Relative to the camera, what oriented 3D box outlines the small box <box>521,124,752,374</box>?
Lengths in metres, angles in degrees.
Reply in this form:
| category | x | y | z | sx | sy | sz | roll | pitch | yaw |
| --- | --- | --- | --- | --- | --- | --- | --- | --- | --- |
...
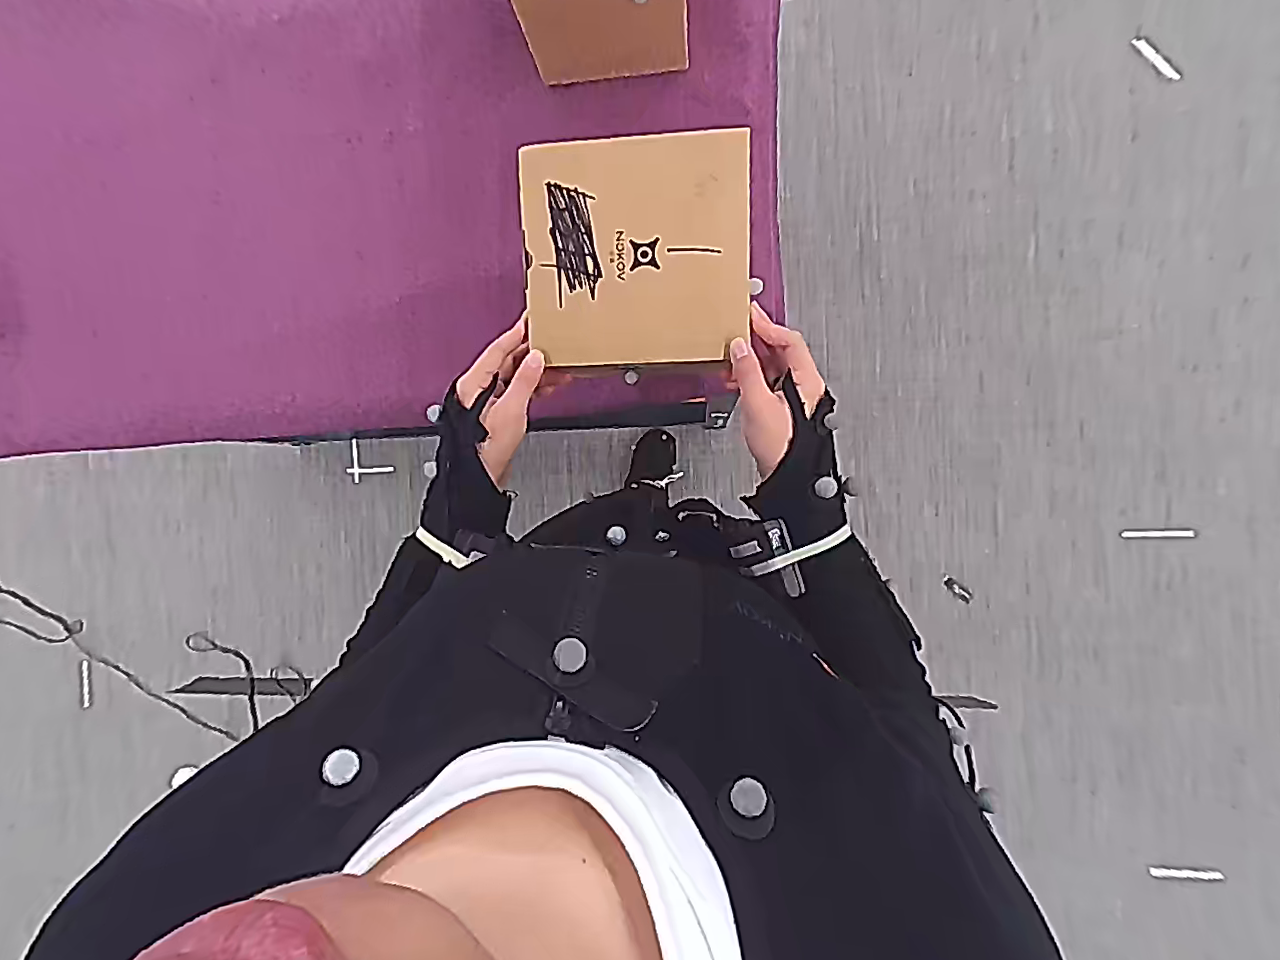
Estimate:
| category | x | y | z | sx | sy | sz | roll | pitch | yaw |
| --- | --- | --- | --- | --- | --- | --- | --- | --- | --- |
| small box | 0.007 | -0.185 | 0.487 | 0.179 | 0.176 | 0.168 | 0 | 98 | 8 |

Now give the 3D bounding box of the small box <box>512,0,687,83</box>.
| category | x | y | z | sx | sy | sz | roll | pitch | yaw |
| --- | --- | --- | --- | --- | --- | --- | --- | --- | --- |
| small box | -0.039 | -0.555 | 0.560 | 0.179 | 0.176 | 0.168 | -2 | 92 | 6 |
